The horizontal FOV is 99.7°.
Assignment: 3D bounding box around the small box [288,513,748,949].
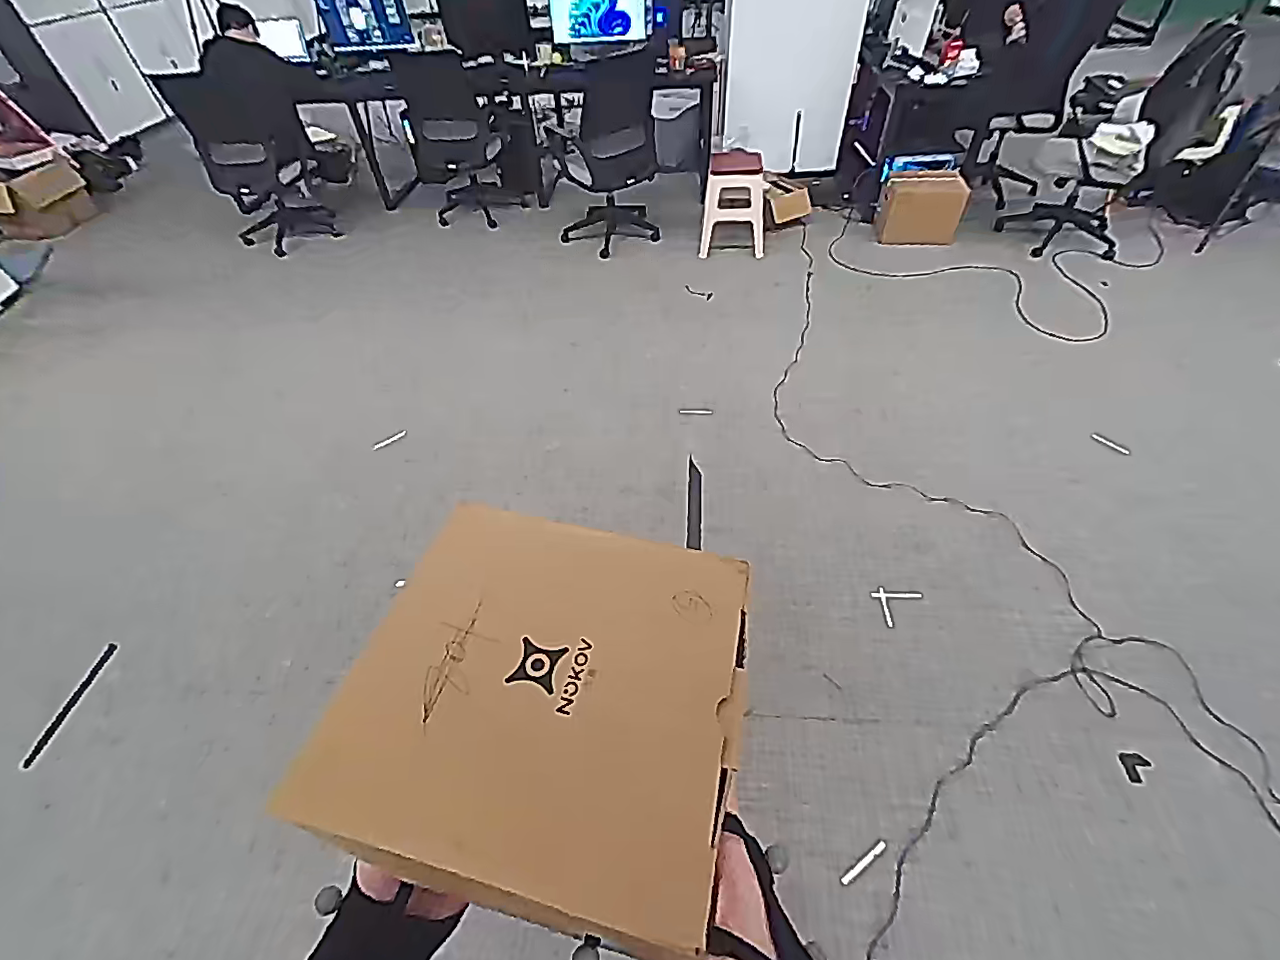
[{"bbox_3d":[-0.043,0.148,0.320,0.179,0.176,0.168,10,46,10],"label":"small box"}]
